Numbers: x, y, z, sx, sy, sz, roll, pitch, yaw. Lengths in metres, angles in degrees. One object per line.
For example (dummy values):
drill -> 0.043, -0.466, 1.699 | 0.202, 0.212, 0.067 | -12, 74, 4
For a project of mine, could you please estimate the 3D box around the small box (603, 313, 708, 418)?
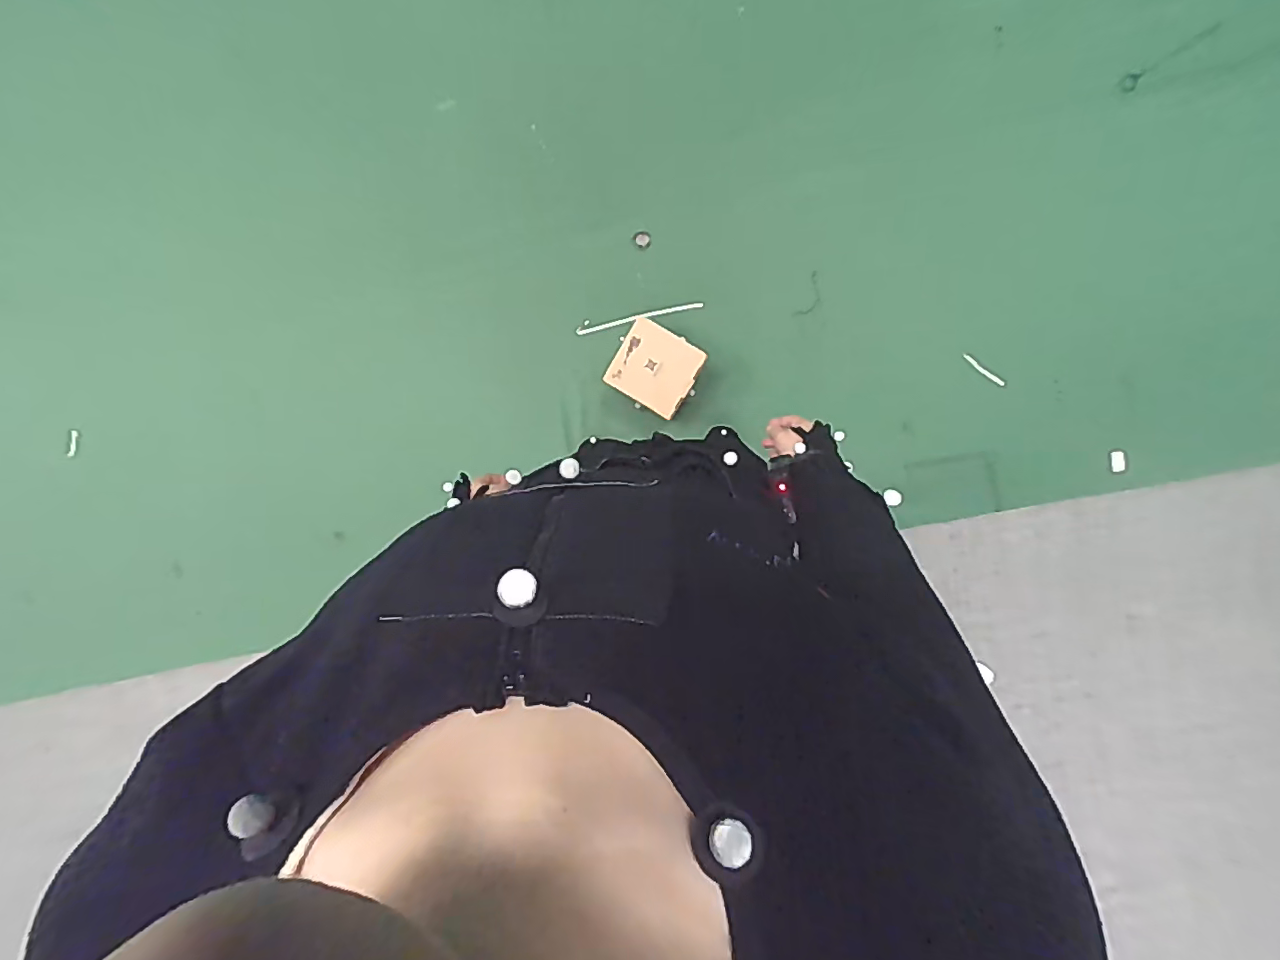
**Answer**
small box -> 0.039, -0.259, 1.250 | 0.179, 0.176, 0.168 | 32, 98, 0
